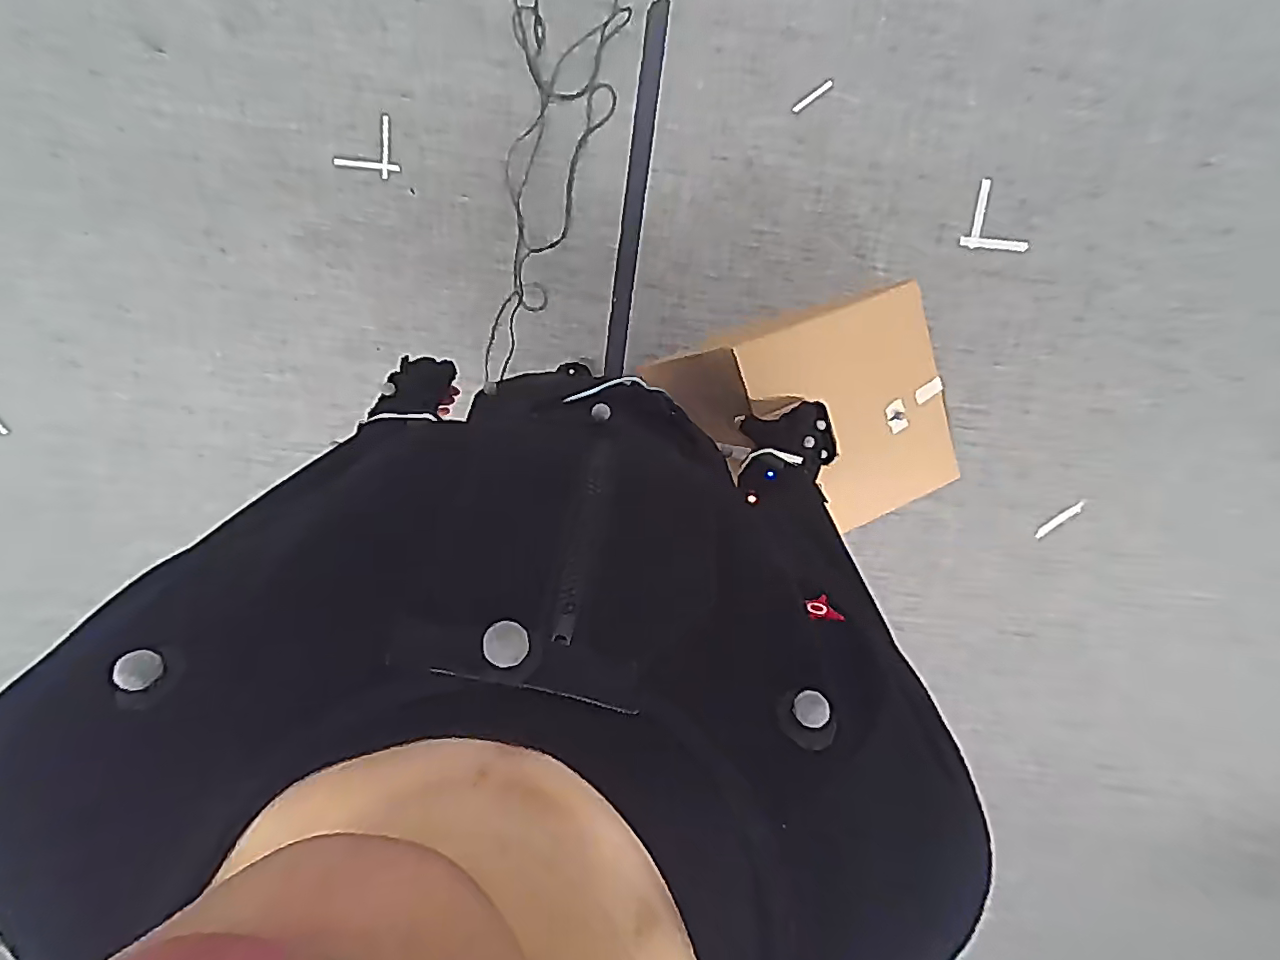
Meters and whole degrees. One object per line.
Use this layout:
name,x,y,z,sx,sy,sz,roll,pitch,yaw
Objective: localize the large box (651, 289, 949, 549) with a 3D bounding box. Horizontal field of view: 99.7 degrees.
large box,0.256,-0.113,0.975,0.320,0.408,0.320,-20,102,-12
